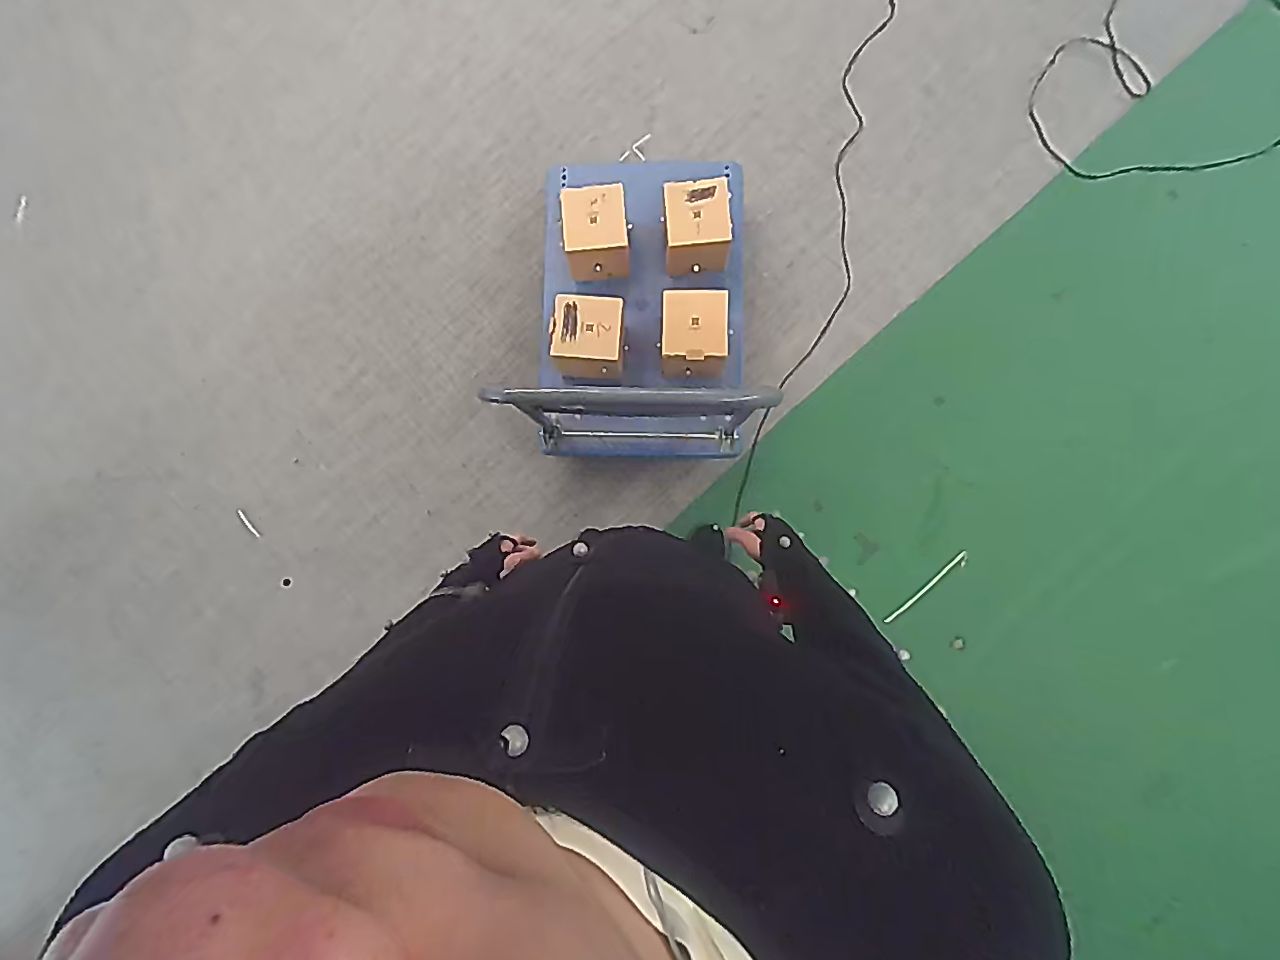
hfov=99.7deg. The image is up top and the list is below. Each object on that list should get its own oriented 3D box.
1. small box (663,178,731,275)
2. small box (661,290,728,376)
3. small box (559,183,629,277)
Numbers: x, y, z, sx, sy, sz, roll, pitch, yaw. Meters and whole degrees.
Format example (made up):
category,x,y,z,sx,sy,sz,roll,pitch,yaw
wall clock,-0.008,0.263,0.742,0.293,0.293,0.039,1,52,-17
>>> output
category,x,y,z,sx,sy,sz,roll,pitch,yaw
small box,0.148,-0.681,1.464,0.168,0.176,0.179,-4,85,2
small box,0.140,-0.386,1.438,0.168,0.176,0.179,1,85,2
small box,-0.121,-0.670,1.472,0.168,0.176,0.179,-4,84,1
